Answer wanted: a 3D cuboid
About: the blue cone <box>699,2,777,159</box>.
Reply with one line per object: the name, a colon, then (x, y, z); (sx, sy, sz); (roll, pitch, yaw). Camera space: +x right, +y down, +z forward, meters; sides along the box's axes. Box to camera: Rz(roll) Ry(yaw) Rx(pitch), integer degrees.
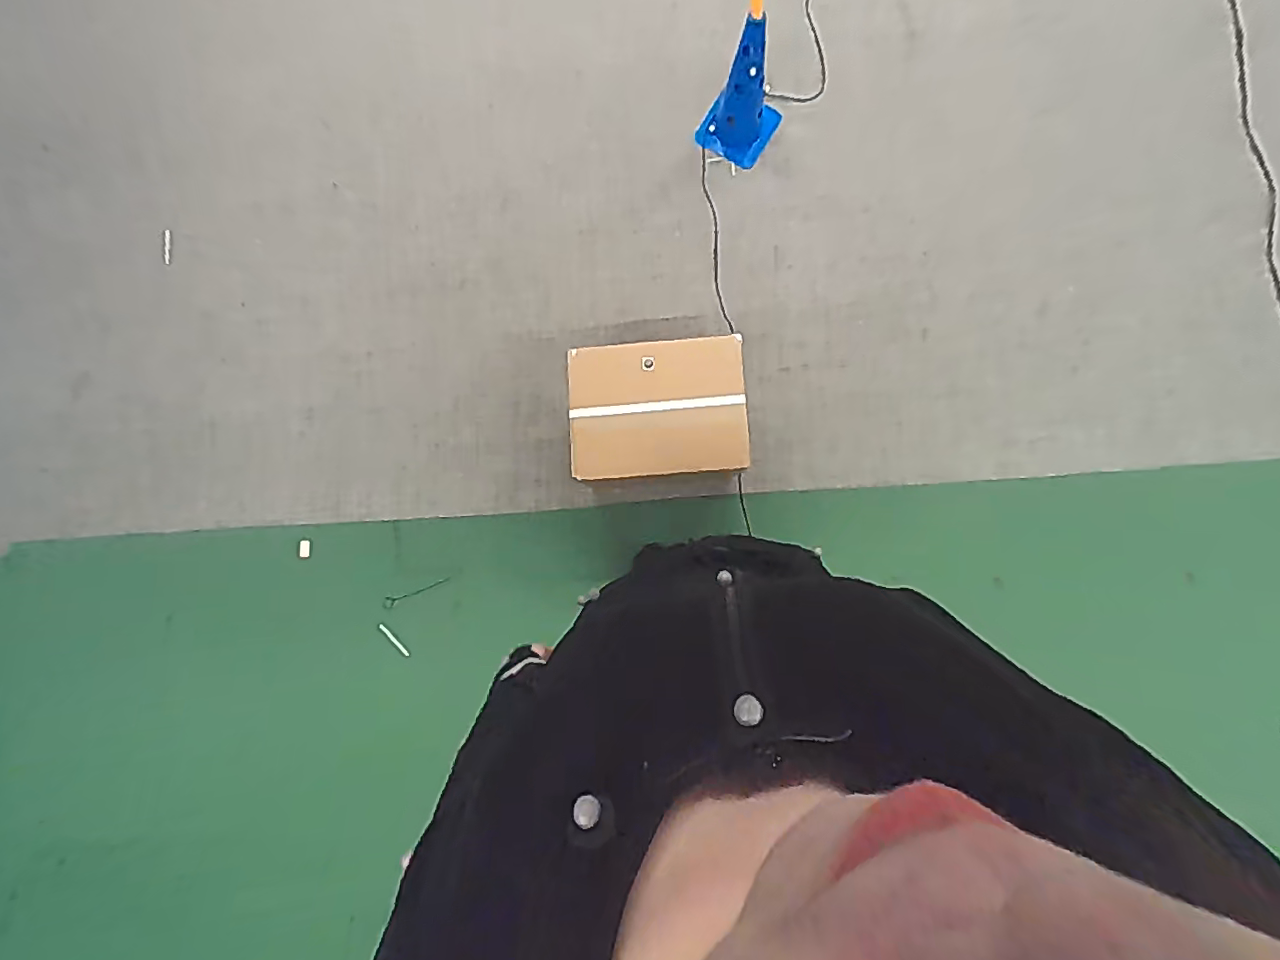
blue cone: (0.276, -1.050, 1.408); (0.192, 0.380, 0.193); (29, 89, 5)
